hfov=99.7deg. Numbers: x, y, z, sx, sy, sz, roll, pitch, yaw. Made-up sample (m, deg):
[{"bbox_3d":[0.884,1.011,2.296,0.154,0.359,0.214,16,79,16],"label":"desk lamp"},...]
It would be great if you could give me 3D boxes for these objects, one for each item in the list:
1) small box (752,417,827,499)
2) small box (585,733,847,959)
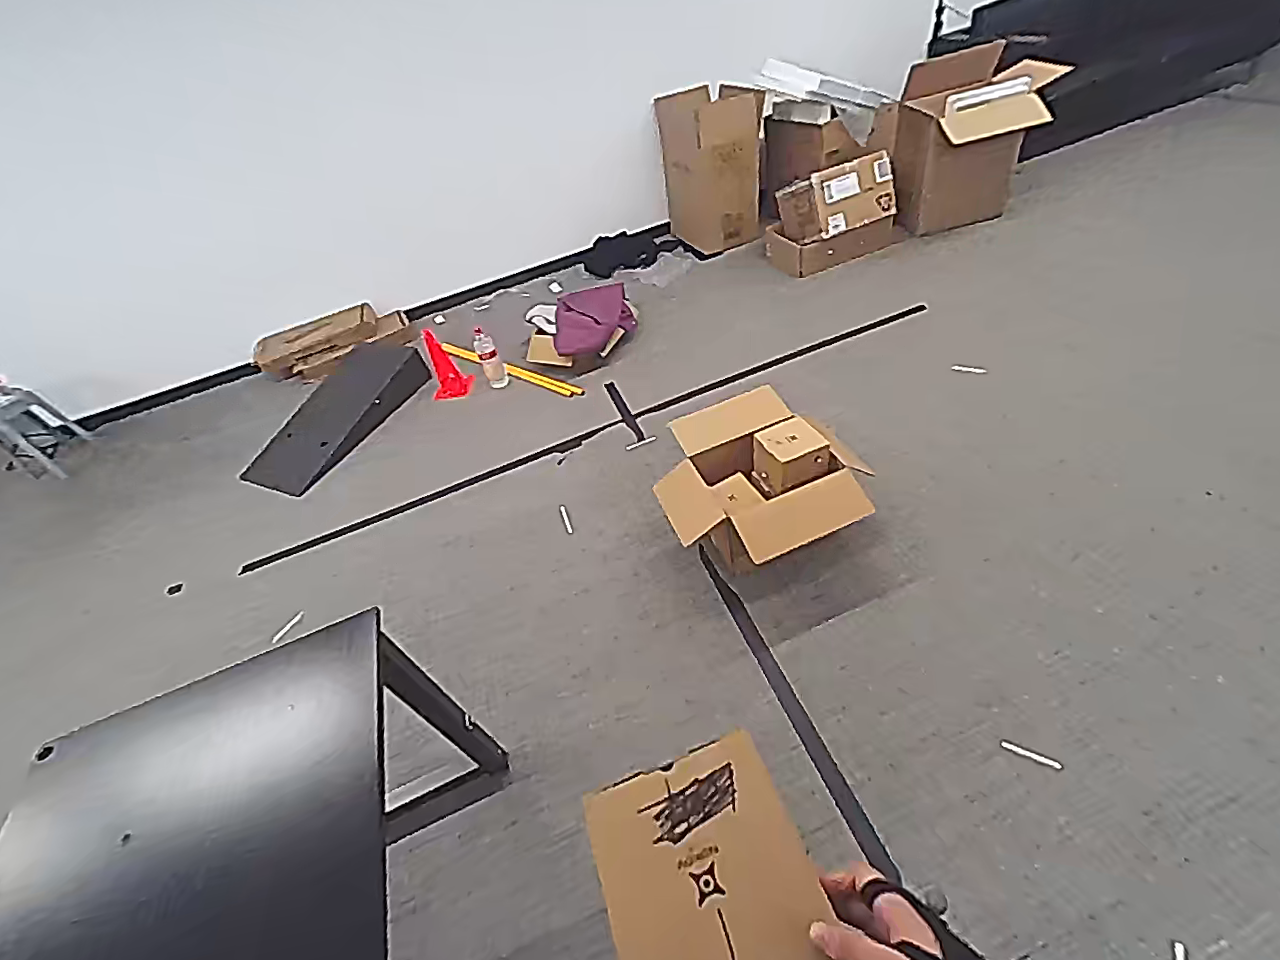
[{"bbox_3d":[0.478,-0.069,1.749,0.179,0.176,0.168,-23,44,-10],"label":"small box"},{"bbox_3d":[0.062,0.374,0.502,0.168,0.176,0.179,-20,48,-7],"label":"small box"}]
